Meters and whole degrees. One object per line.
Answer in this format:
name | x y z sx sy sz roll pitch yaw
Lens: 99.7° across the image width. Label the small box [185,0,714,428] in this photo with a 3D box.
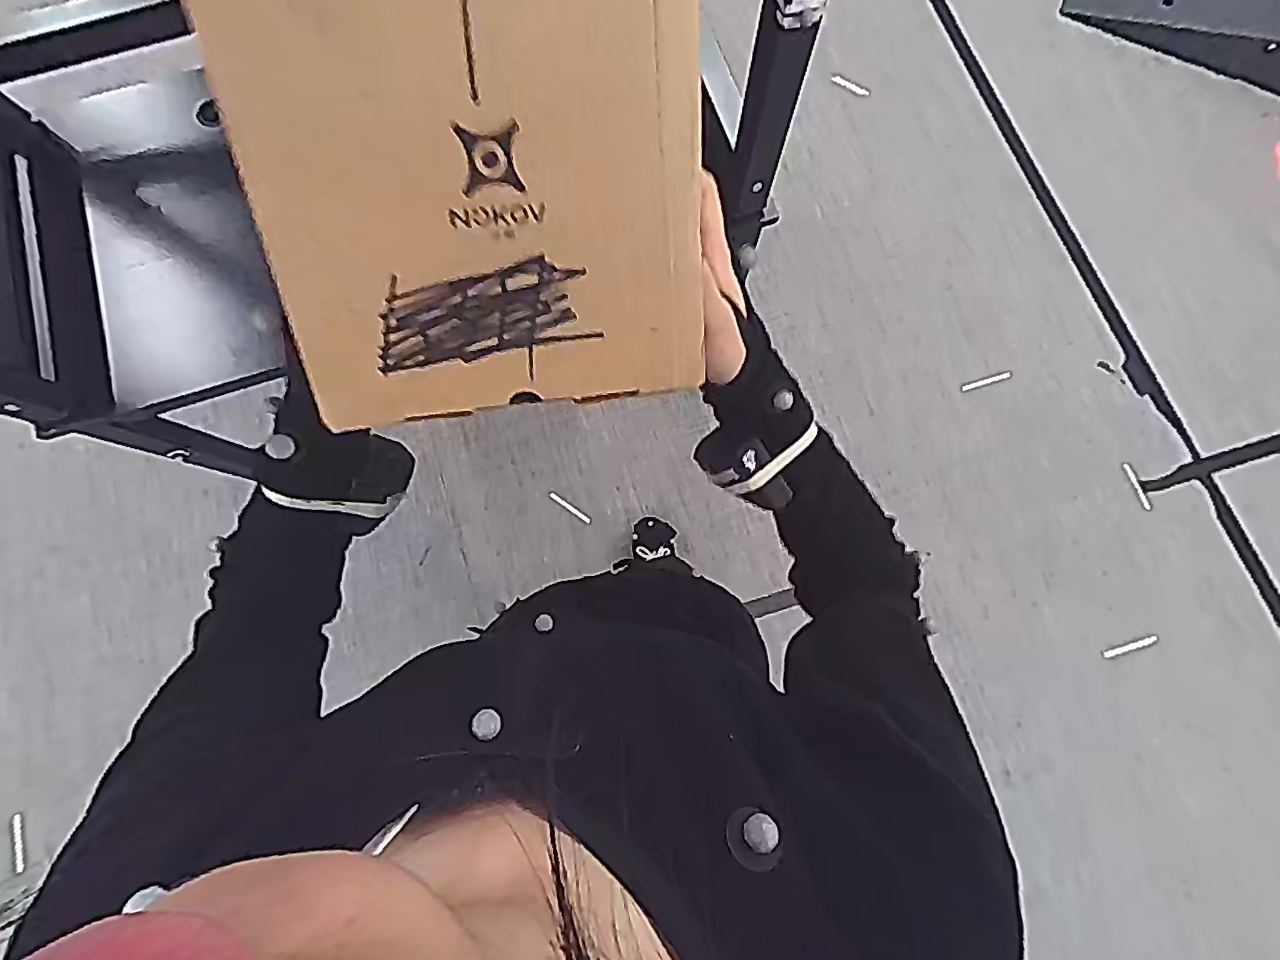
small box | -0.069 -0.143 0.265 0.168 0.176 0.179 -9 116 -10
